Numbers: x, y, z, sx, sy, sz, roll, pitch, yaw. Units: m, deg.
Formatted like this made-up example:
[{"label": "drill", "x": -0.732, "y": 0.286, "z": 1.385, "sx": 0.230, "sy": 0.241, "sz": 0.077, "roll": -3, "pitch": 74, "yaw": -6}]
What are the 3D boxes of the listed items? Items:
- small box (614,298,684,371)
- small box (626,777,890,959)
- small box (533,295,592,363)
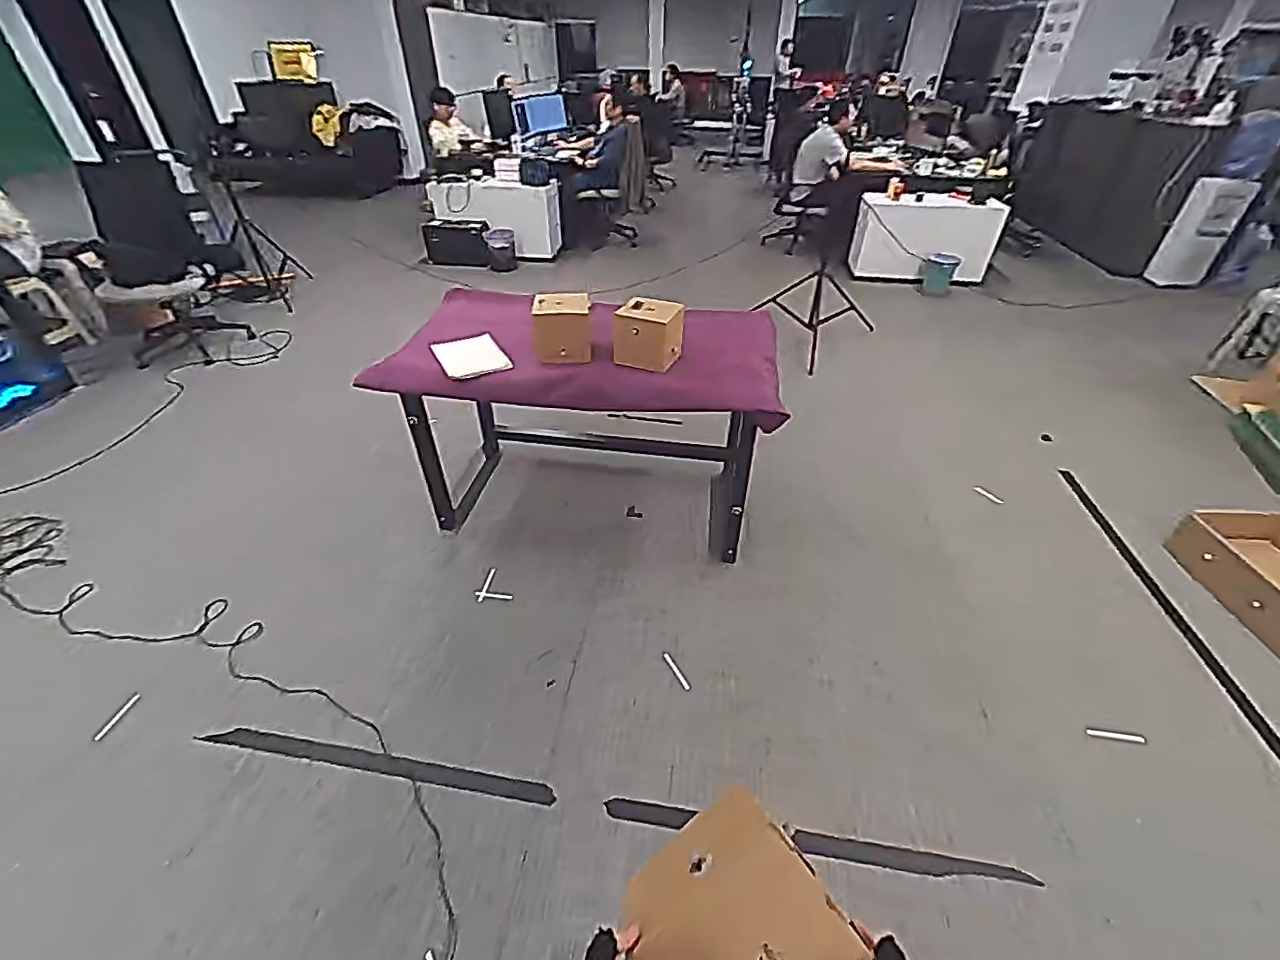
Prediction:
[{"label": "small box", "x": 0.030, "y": -0.465, "z": 1.732, "sx": 0.179, "sy": 0.176, "sz": 0.168, "roll": 15, "pitch": 40, "yaw": 18}, {"label": "small box", "x": 0.097, "y": 0.432, "z": 0.538, "sx": 0.179, "sy": 0.176, "sz": 0.168, "roll": -37, "pitch": 76, "yaw": -13}, {"label": "small box", "x": -0.247, "y": -0.489, "z": 1.763, "sx": 0.179, "sy": 0.176, "sz": 0.168, "roll": -2, "pitch": 38, "yaw": -3}]
